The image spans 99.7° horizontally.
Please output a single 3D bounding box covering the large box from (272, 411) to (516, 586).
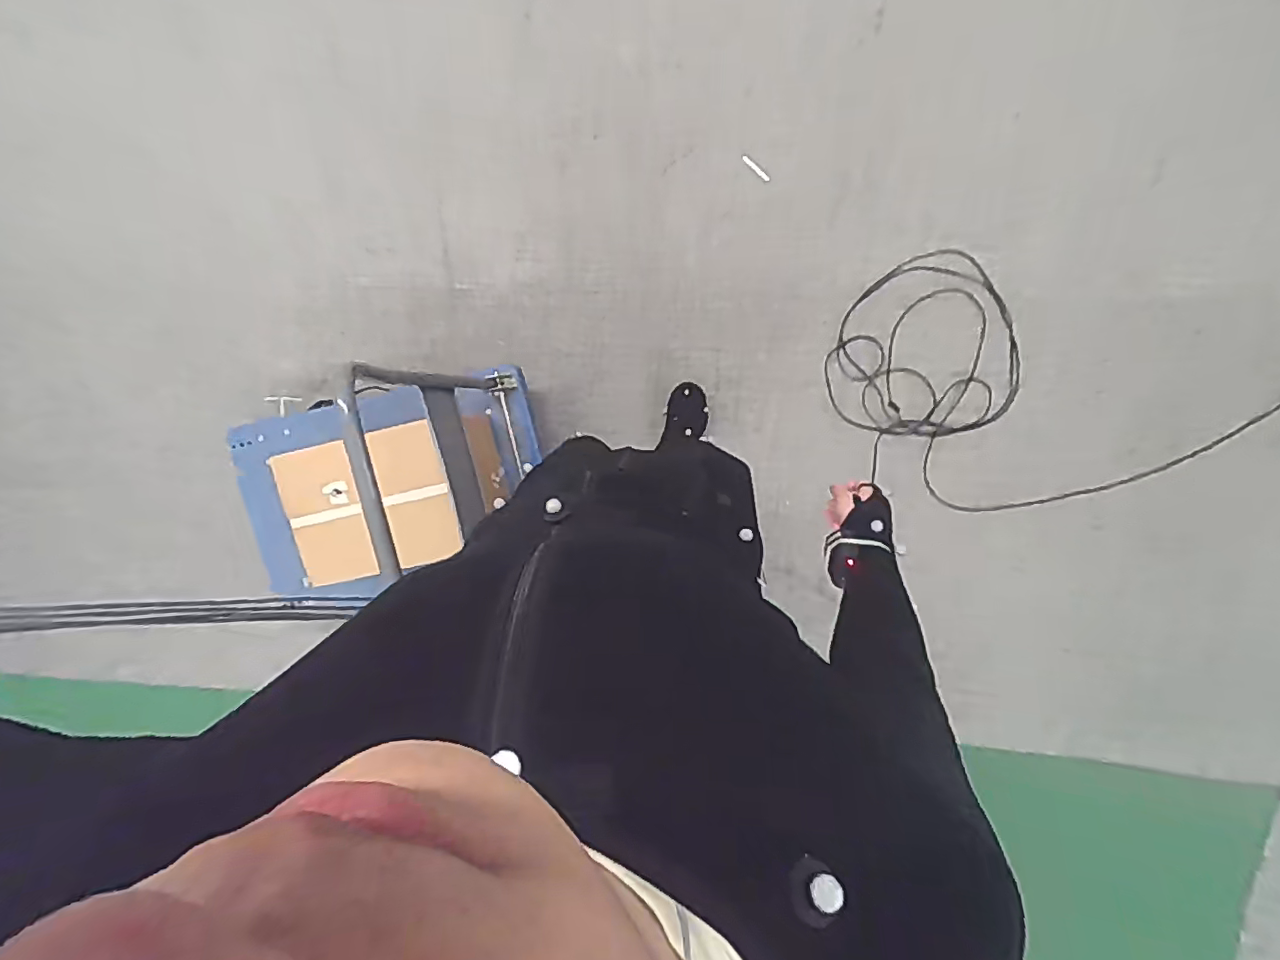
[{"bbox_3d":[-0.577,0.029,1.339,0.408,0.320,0.320,-12,97,7],"label":"large box"}]
